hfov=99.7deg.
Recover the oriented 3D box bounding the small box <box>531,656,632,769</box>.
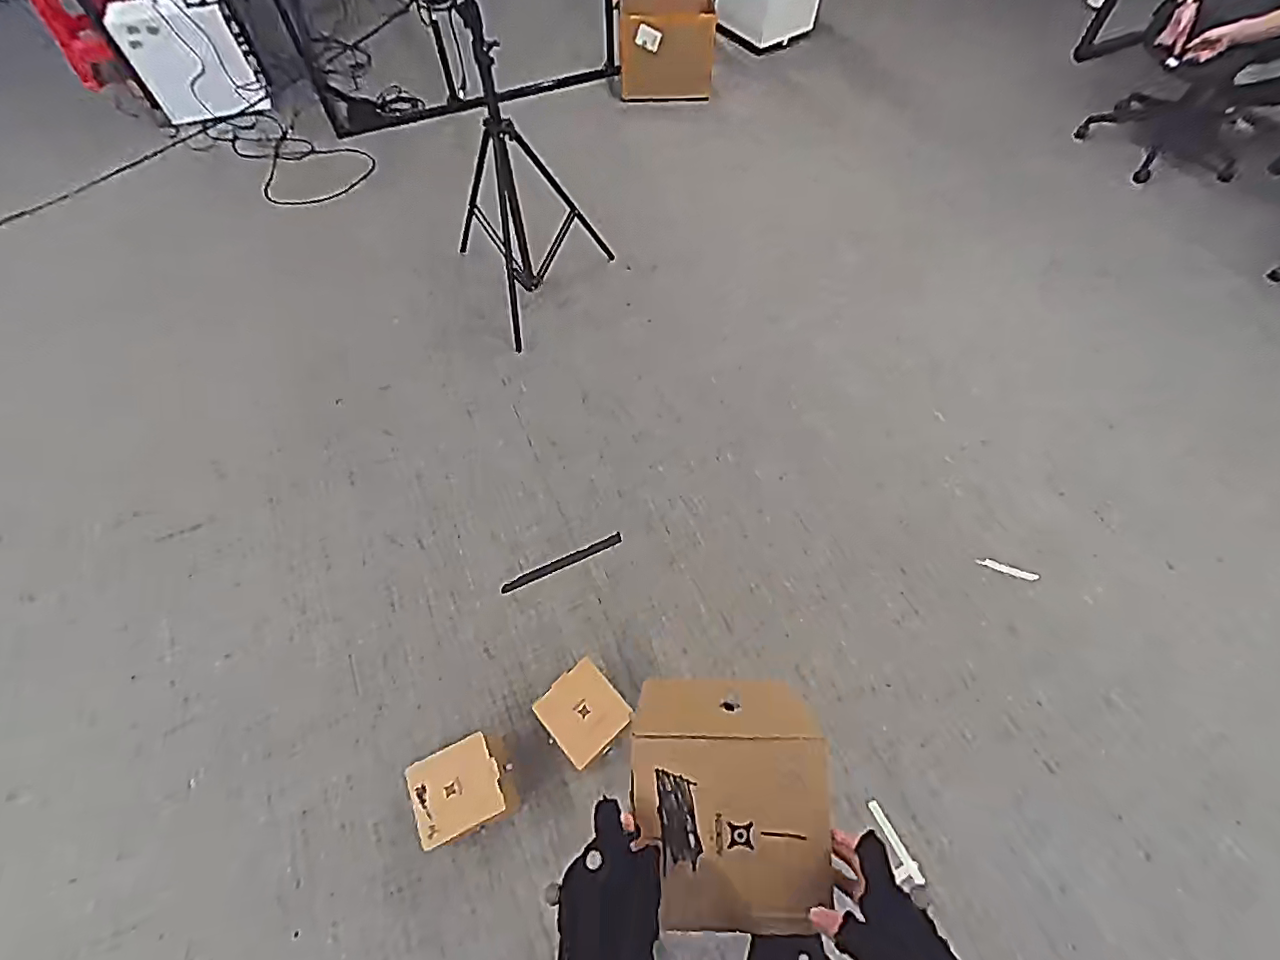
[{"bbox_3d":[-0.125,0.547,1.258,0.168,0.176,0.179,-40,68,-19],"label":"small box"}]

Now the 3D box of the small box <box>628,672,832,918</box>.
[{"bbox_3d":[0.083,0.302,0.554,0.179,0.176,0.168,-1,84,3],"label":"small box"}]

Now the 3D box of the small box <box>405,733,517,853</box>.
[{"bbox_3d":[-0.381,0.678,1.183,0.179,0.176,0.168,-23,63,-12],"label":"small box"}]
